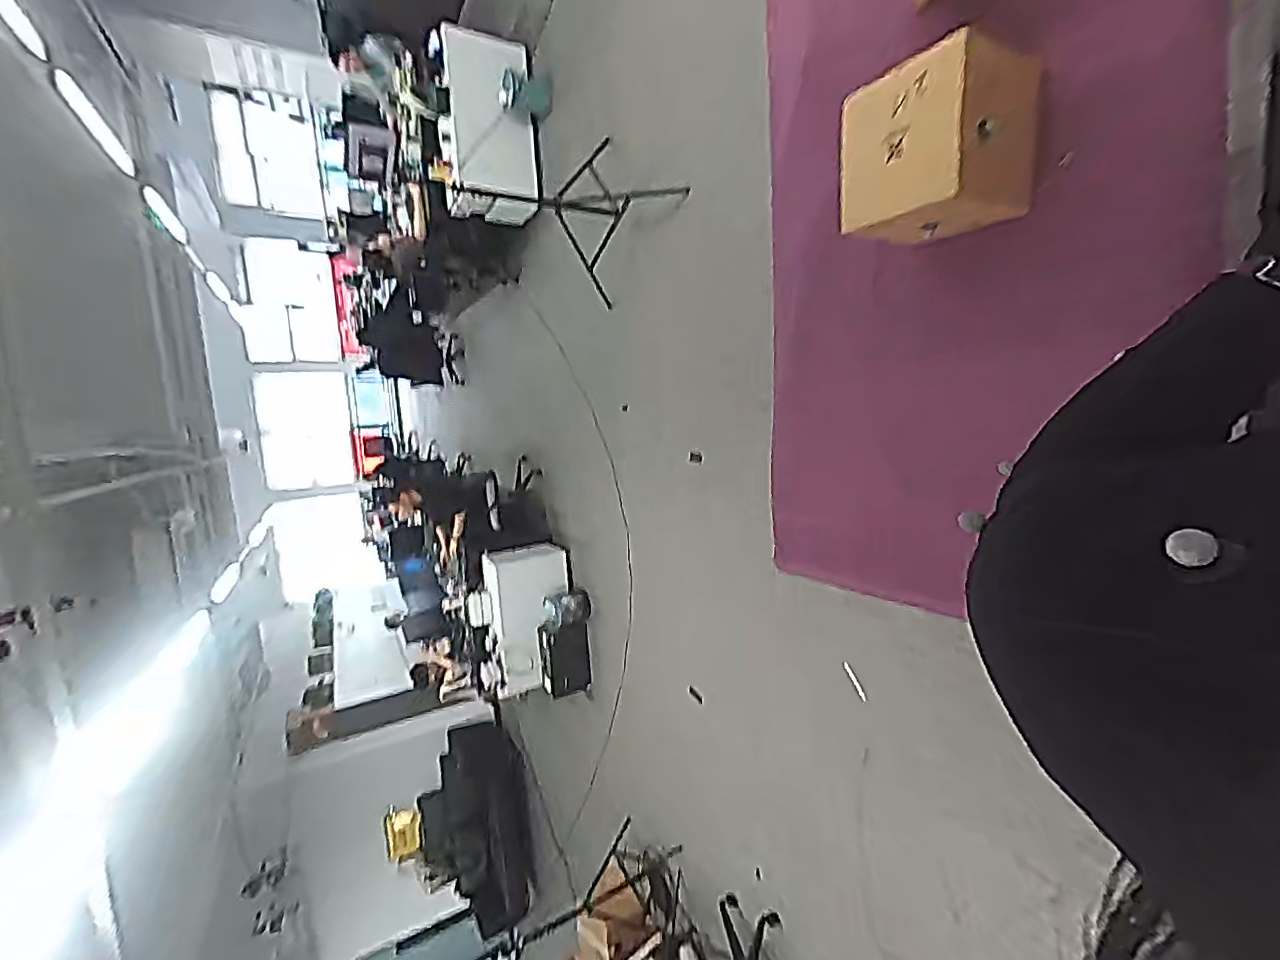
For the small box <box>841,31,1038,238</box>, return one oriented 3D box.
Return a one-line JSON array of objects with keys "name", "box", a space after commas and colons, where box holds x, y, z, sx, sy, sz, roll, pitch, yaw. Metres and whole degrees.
[{"name": "small box", "box": [0.390, -0.430, 0.713, 0.168, 0.176, 0.179, 14, 108, 59]}]
